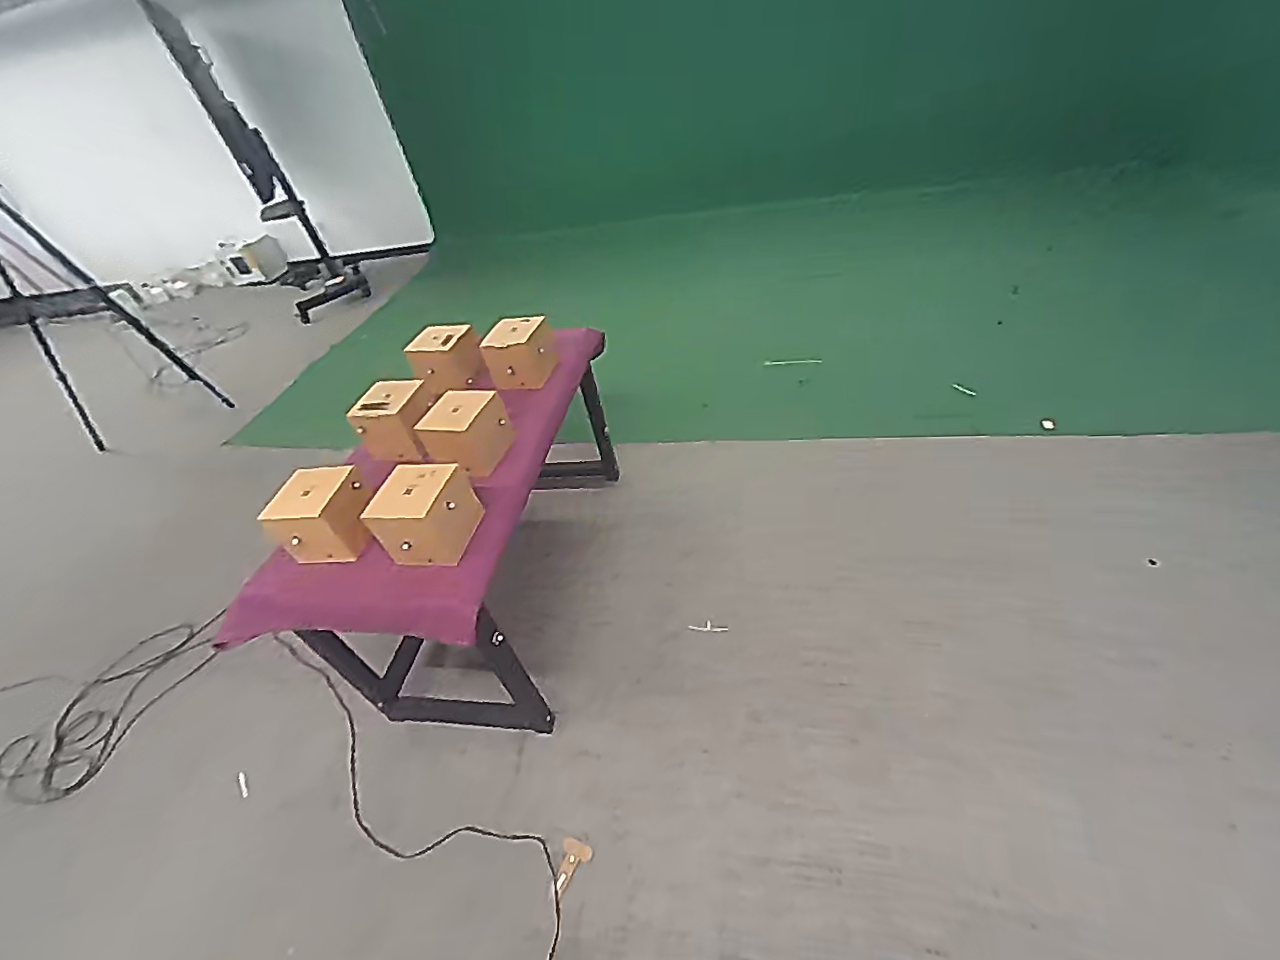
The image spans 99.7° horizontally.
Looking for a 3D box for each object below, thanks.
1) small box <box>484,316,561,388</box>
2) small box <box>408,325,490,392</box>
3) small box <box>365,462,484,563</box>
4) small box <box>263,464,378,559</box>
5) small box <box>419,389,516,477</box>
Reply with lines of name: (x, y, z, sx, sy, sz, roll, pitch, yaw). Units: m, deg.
small box: (-0.377, -0.415, 1.776, 0.168, 0.176, 0.179, 3, 45, 18)
small box: (-0.641, -0.410, 1.839, 0.179, 0.176, 0.168, 3, 45, 19)
small box: (-0.491, 0.078, 1.266, 0.168, 0.176, 0.179, 0, 43, 16)
small box: (-0.766, 0.083, 1.337, 0.168, 0.176, 0.179, -3, 42, 11)
small box: (-0.464, -0.132, 1.493, 0.168, 0.176, 0.179, 5, 46, 21)
